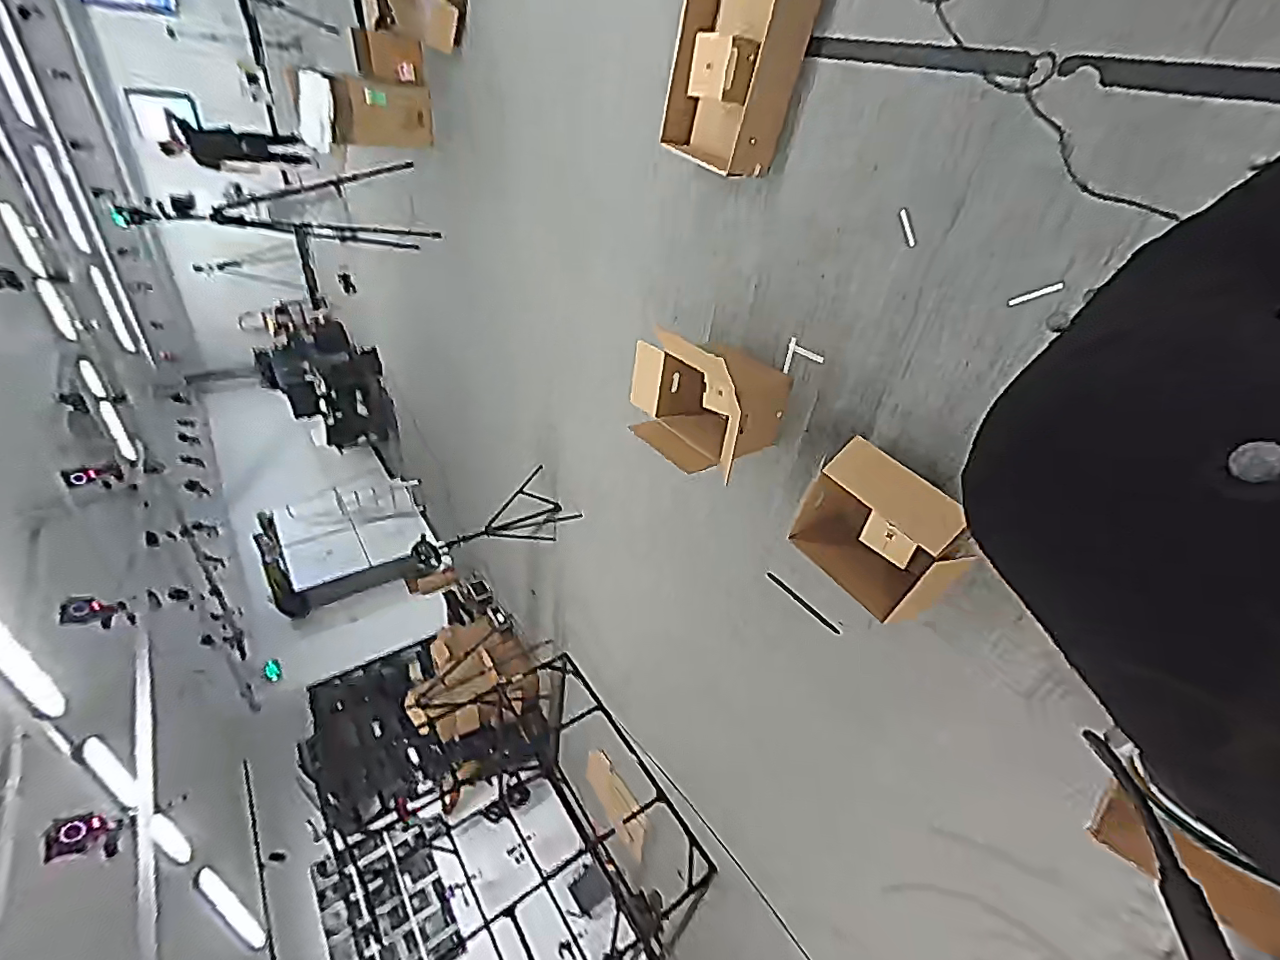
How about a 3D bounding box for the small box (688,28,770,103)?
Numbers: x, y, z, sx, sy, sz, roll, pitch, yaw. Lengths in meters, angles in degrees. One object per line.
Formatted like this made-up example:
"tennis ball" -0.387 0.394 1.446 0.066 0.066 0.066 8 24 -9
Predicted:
"small box" 0.287 -1.330 1.738 0.179 0.176 0.168 43 136 37
